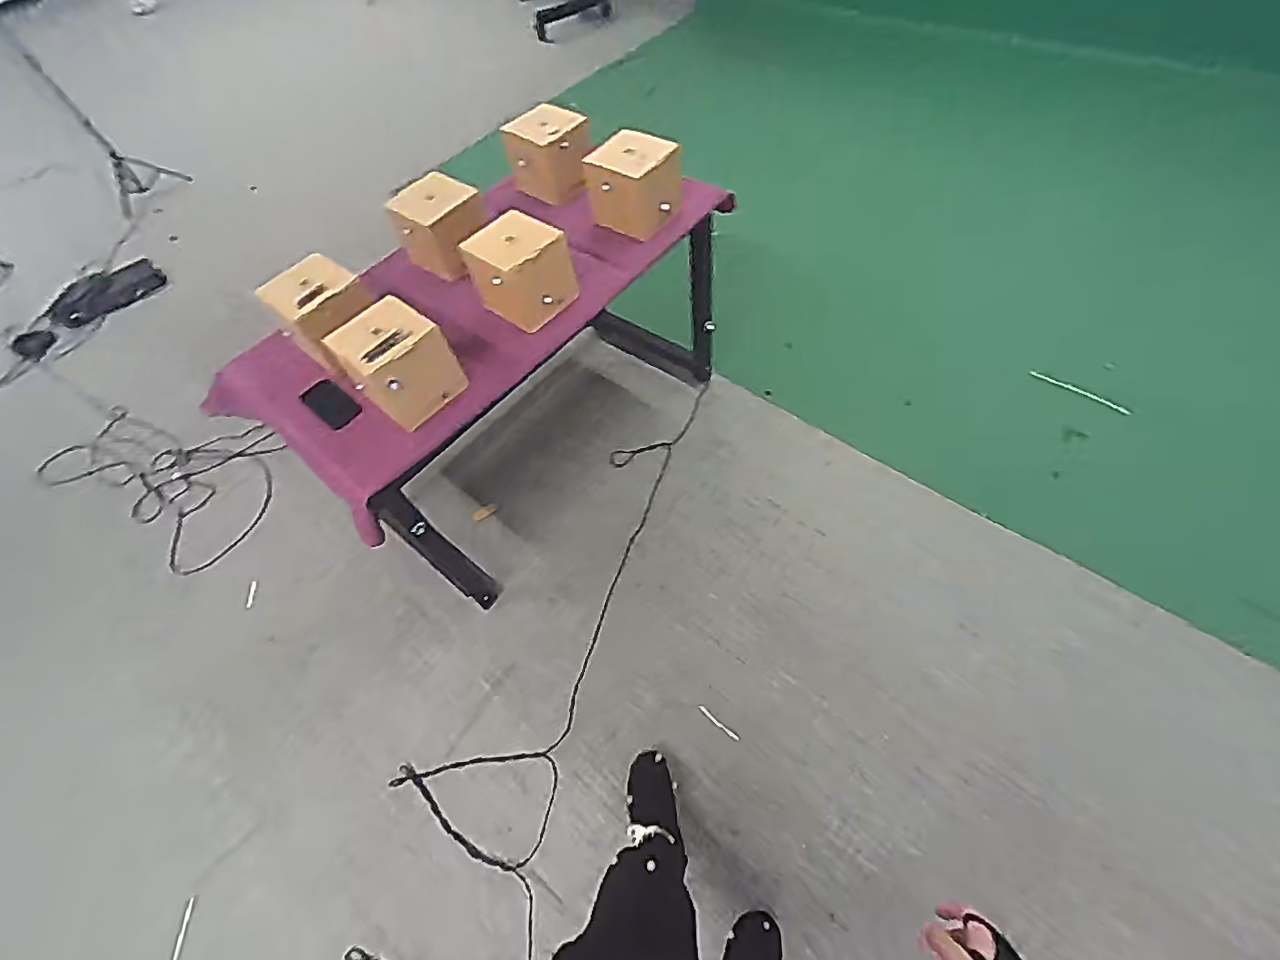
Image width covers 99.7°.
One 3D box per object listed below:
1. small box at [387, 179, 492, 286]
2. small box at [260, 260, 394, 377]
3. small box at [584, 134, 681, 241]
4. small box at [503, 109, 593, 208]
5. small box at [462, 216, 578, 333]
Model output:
[{"bbox_3d":[-0.495,-0.628,1.380,0.179,0.176,0.168,33,68,24],"label":"small box"},{"bbox_3d":[-0.706,-0.364,1.239,0.179,0.176,0.168,32,67,25],"label":"small box"},{"bbox_3d":[-0.012,-0.742,1.379,0.179,0.176,0.168,32,69,24],"label":"small box"},{"bbox_3d":[-0.246,-0.895,1.513,0.179,0.176,0.168,34,69,26],"label":"small box"},{"bbox_3d":[-0.269,-0.469,1.246,0.179,0.176,0.168,34,68,26],"label":"small box"}]
